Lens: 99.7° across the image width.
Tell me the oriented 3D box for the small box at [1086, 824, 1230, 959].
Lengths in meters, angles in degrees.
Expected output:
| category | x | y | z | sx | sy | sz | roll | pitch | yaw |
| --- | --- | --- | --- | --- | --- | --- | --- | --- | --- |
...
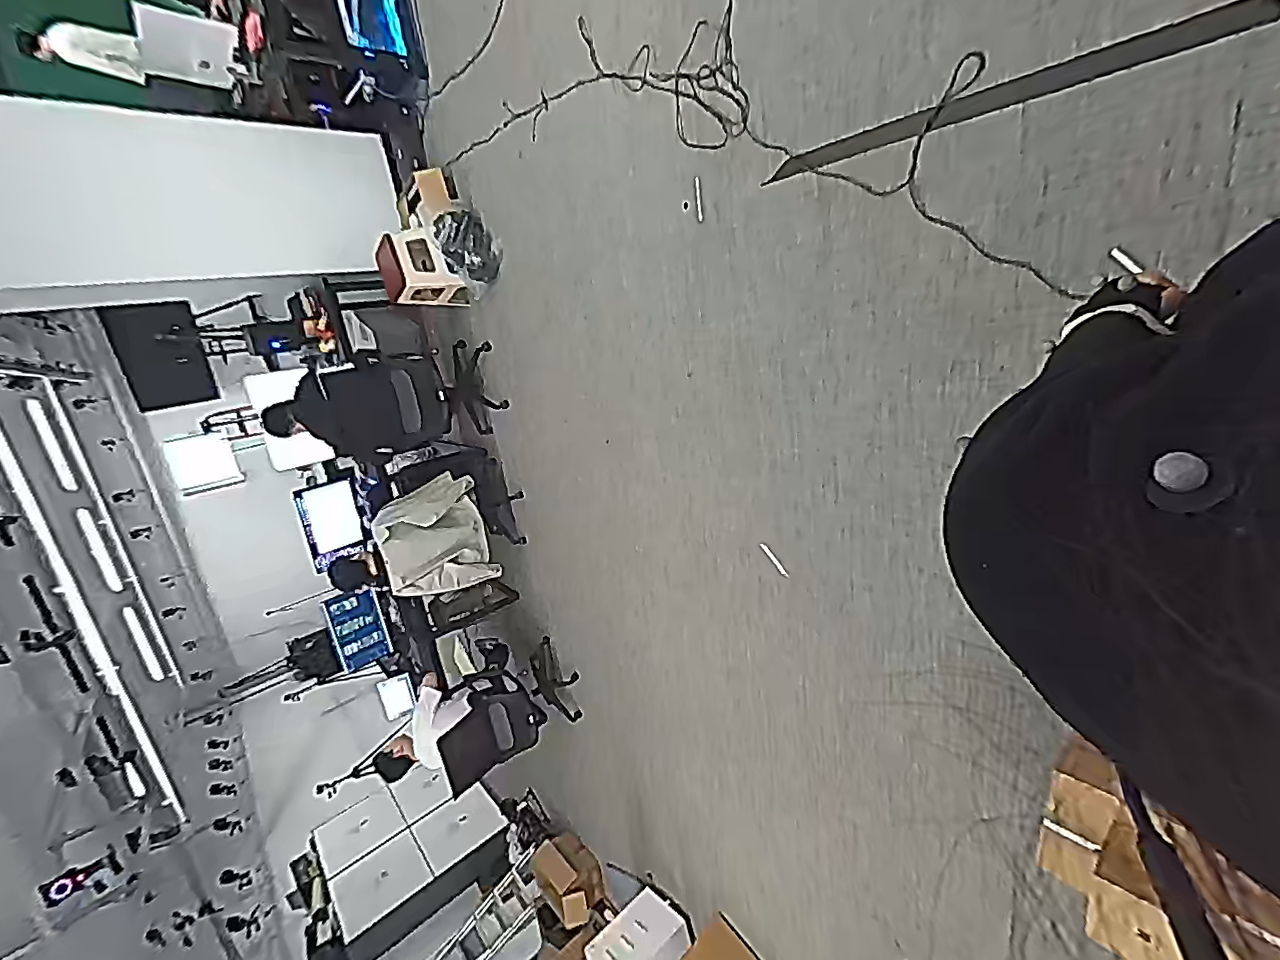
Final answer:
| category | x | y | z | sx | sy | sz | roll | pitch | yaw |
| --- | --- | --- | --- | --- | --- | --- | --- | --- | --- |
| small box | 1.006 | 0.824 | 1.051 | 0.179 | 0.176 | 0.168 | 11 | 113 | 50 |
